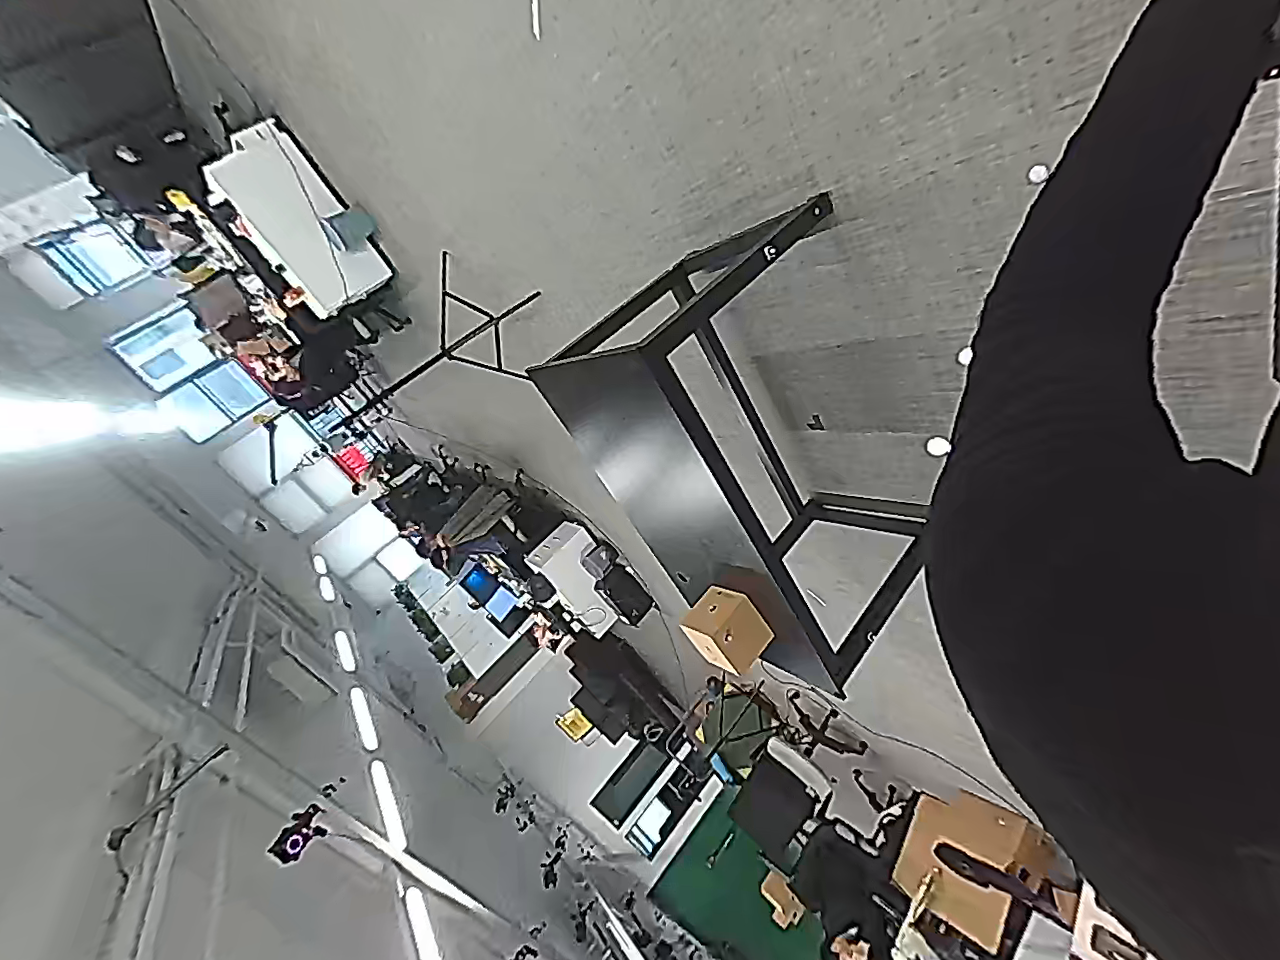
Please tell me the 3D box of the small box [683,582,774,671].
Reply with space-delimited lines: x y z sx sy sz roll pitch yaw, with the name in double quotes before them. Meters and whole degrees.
"small box" 0.268 0.433 1.632 0.179 0.176 0.168 53 158 -18
